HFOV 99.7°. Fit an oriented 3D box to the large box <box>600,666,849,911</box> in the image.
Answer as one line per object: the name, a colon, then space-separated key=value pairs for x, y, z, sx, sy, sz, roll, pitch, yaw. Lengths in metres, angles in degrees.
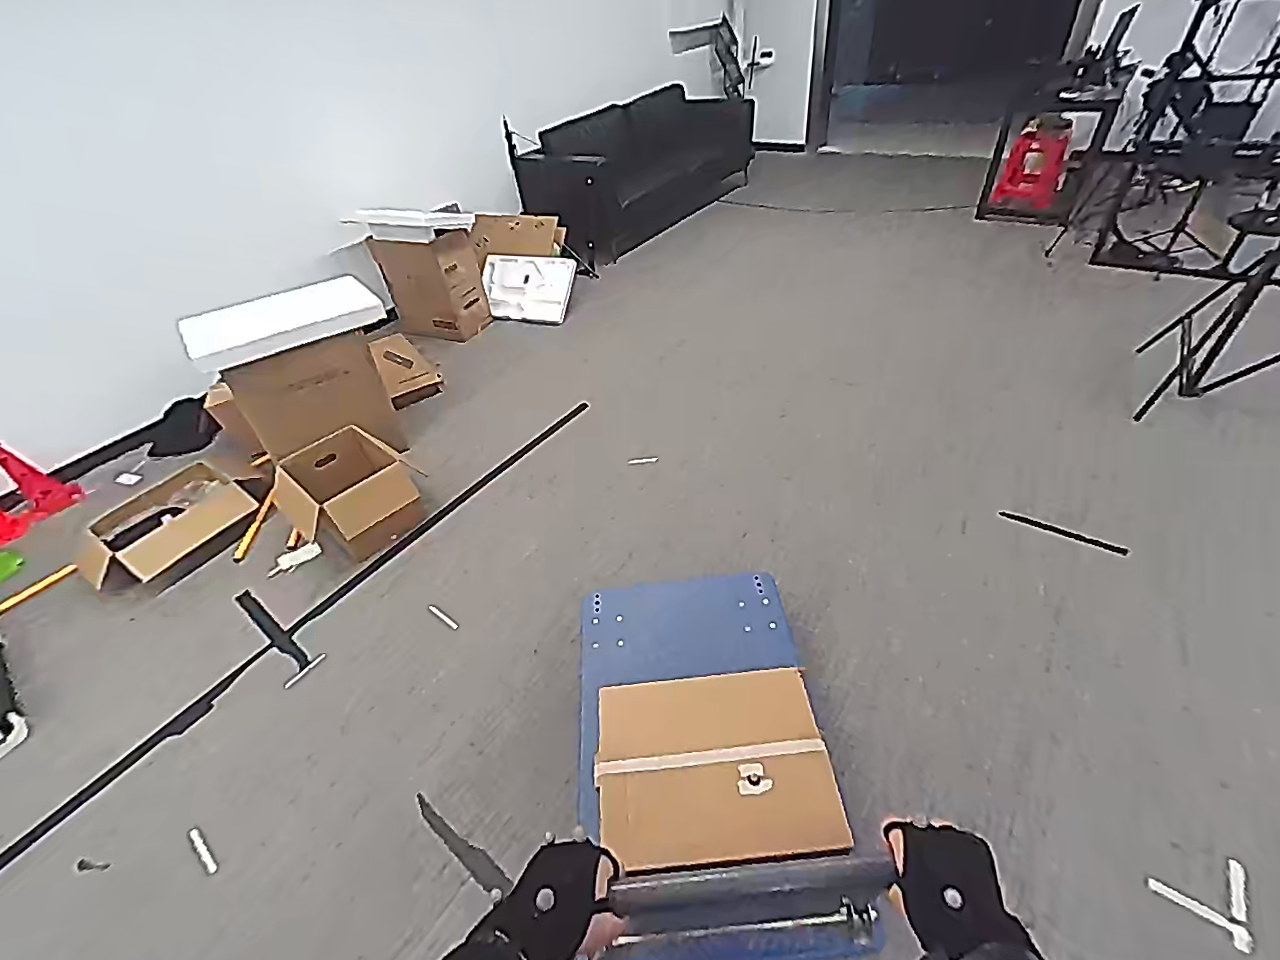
large box: x=0.139 y=0.608 z=1.070 sx=0.408 sy=0.320 sz=0.320 roll=-6 pitch=42 yaw=0
